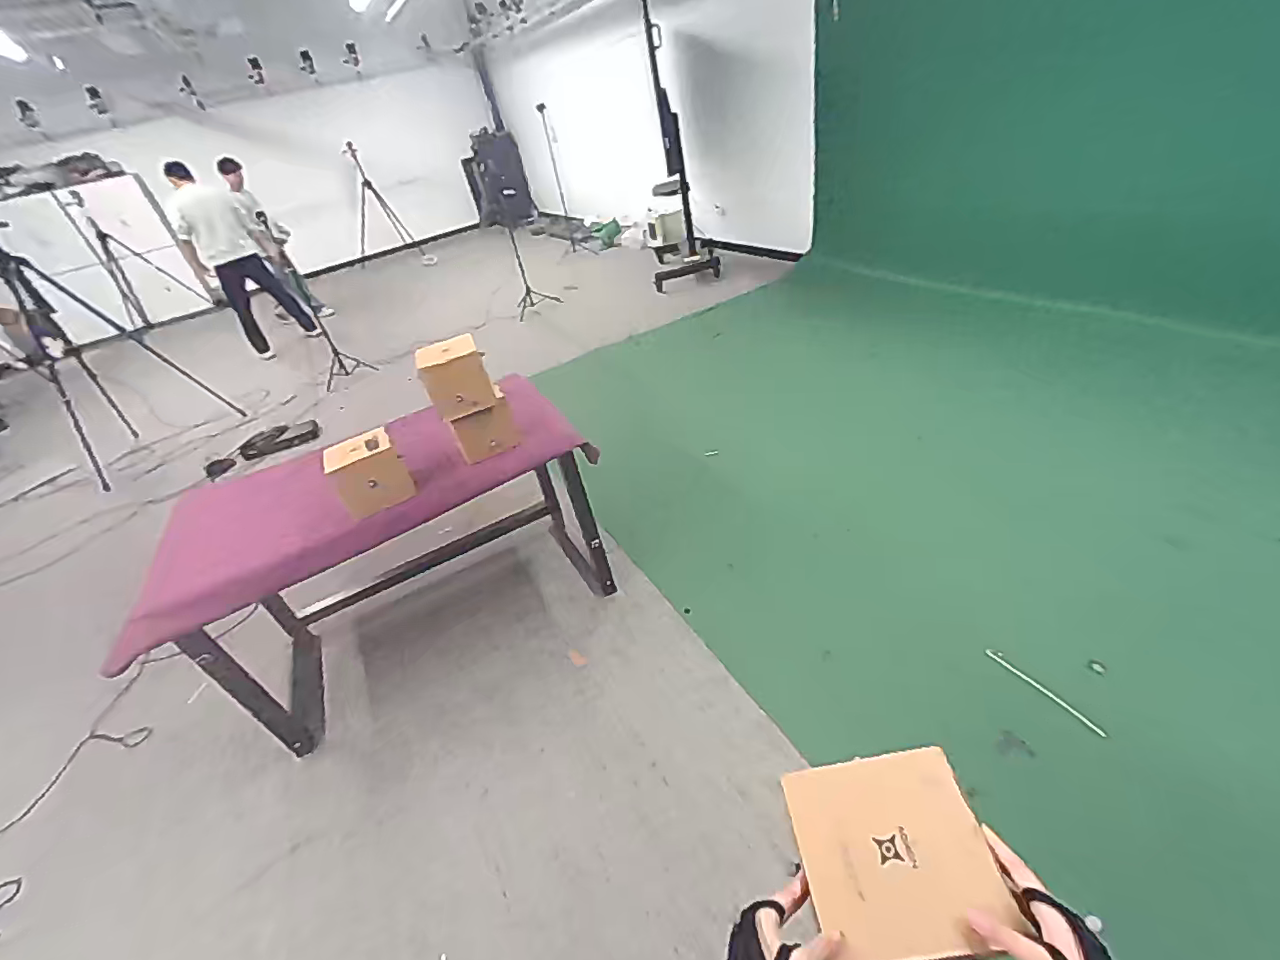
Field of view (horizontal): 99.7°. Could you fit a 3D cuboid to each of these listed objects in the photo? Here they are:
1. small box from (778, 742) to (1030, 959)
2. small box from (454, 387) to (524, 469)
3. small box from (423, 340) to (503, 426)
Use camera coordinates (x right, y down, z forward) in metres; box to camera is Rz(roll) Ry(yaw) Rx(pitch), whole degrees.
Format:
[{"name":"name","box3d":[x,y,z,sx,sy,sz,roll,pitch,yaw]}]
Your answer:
[{"name":"small box","box3d":[0.254,0.402,0.568,0.179,0.176,0.168,-13,42,6]},{"name":"small box","box3d":[-0.474,-0.162,1.669,0.179,0.176,0.168,-26,35,-17]},{"name":"small box","box3d":[-0.510,-0.279,1.559,0.168,0.176,0.179,-22,36,-10]}]
